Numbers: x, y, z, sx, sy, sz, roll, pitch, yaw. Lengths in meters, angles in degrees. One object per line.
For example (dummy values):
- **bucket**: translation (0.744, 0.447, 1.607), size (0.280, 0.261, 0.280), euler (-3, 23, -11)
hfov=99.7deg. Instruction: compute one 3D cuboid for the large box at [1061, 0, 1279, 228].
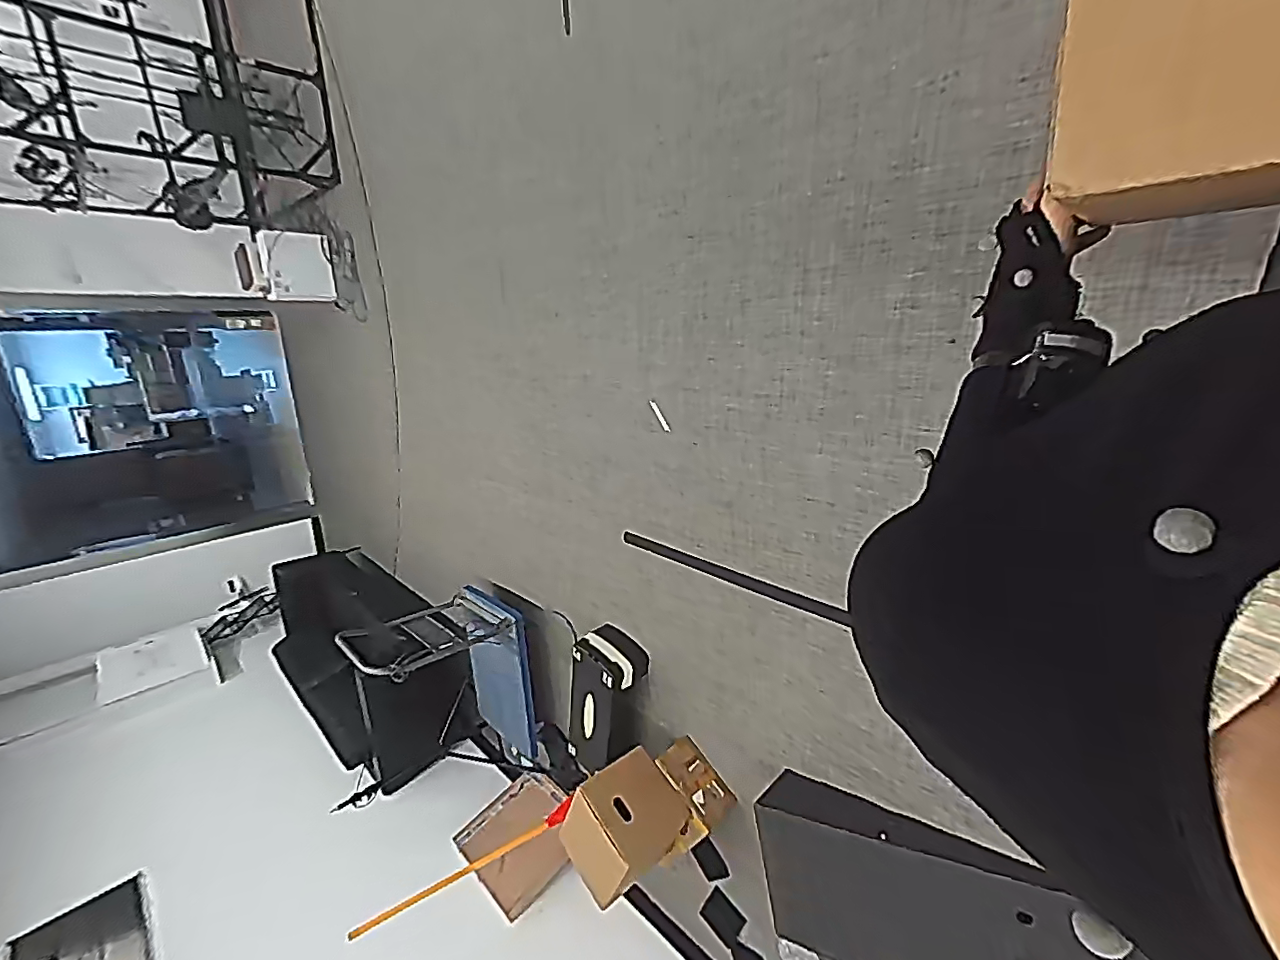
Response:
- **large box**: translation (0.438, -0.309, 0.210), size (0.408, 0.320, 0.320), euler (8, 113, 40)
